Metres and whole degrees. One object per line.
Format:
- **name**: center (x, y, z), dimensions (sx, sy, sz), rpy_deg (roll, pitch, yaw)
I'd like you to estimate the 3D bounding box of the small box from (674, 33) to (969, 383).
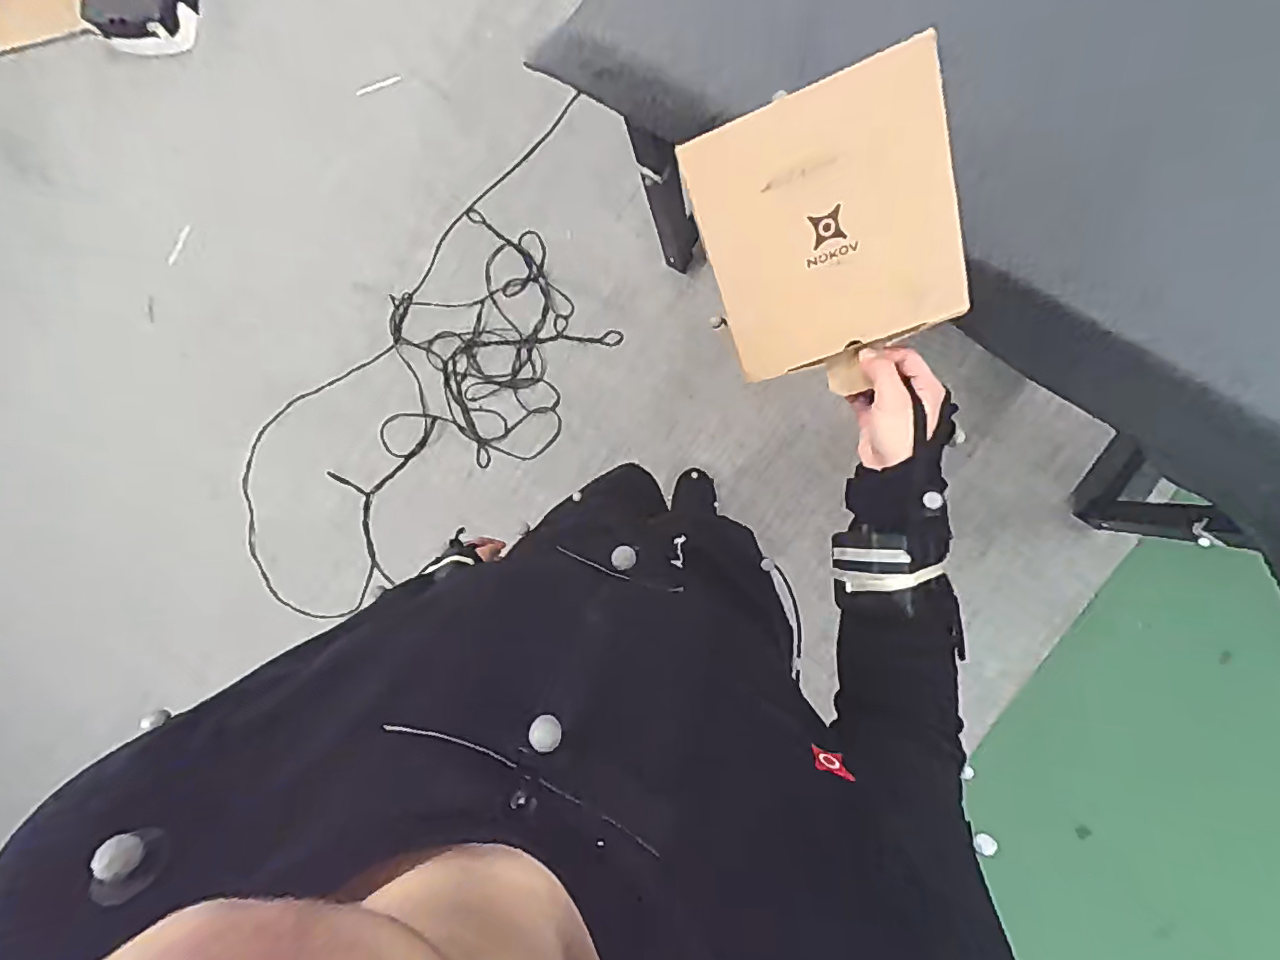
- **small box**: center (0.136, -0.206, 0.444), dimensions (0.168, 0.176, 0.179), rpy_deg (-19, 112, 13)
